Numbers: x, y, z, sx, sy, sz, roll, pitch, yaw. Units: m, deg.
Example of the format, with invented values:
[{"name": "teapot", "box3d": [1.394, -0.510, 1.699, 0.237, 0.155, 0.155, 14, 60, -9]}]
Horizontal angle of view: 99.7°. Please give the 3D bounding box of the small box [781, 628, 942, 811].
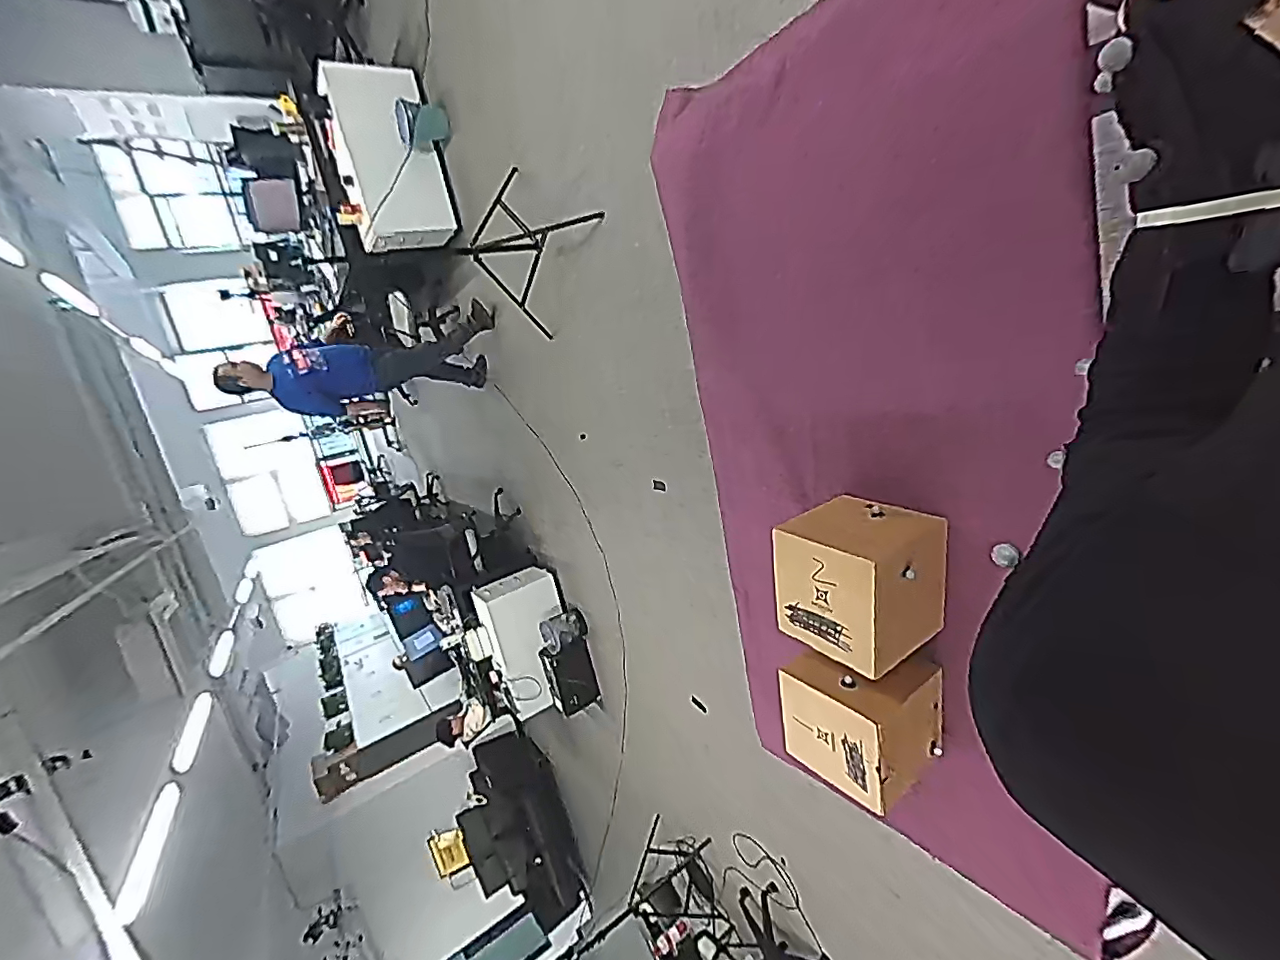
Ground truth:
[{"name": "small box", "box3d": [0.350, 0.358, 0.851, 0.179, 0.176, 0.168, 15, 119, 55]}]
